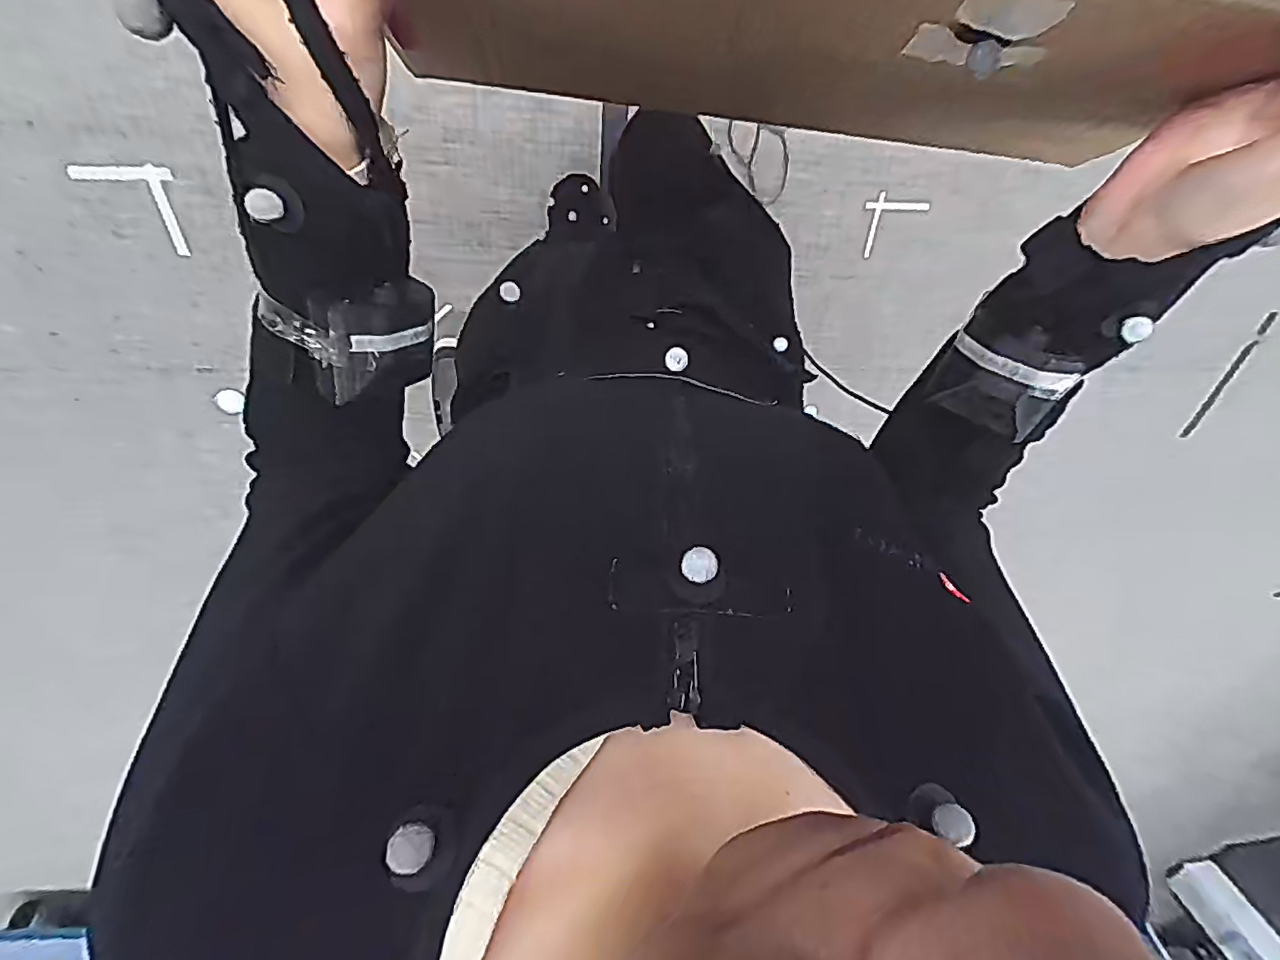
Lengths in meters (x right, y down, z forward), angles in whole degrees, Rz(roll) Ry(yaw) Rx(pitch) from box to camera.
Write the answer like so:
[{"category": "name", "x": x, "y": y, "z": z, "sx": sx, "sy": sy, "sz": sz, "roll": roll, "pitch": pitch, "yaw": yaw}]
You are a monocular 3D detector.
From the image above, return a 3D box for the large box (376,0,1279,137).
[{"category": "large box", "x": 0.088, "y": -0.342, "z": 0.147, "sx": 0.408, "sy": 0.320, "sz": 0.320, "roll": 3, "pitch": 102, "yaw": -4}]
